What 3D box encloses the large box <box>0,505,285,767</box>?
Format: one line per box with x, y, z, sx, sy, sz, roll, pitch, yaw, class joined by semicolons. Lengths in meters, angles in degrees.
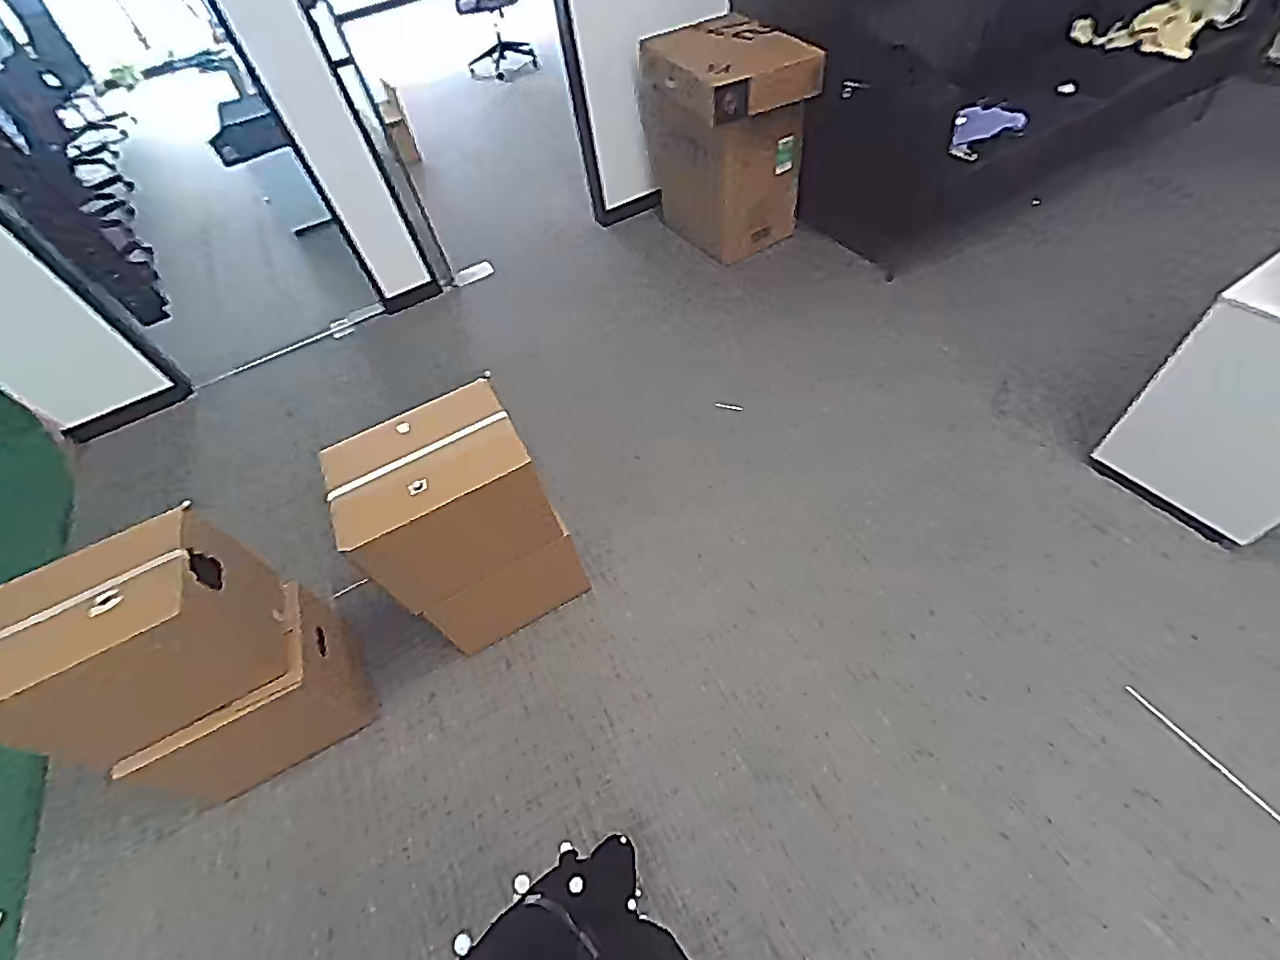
-1.066;0.332;1.166;0.408;0.320;0.320;-26;50;-12;large box
